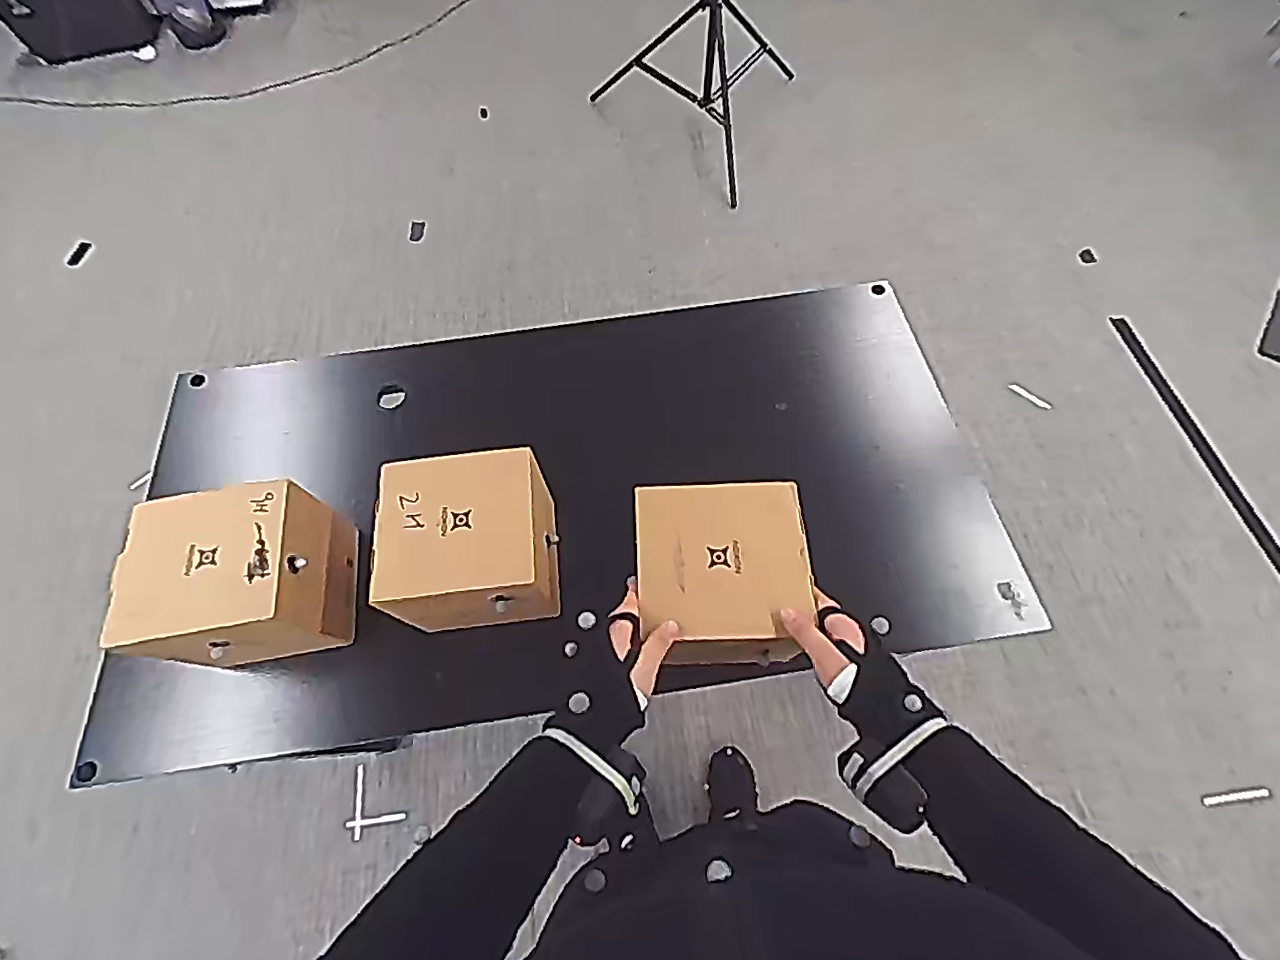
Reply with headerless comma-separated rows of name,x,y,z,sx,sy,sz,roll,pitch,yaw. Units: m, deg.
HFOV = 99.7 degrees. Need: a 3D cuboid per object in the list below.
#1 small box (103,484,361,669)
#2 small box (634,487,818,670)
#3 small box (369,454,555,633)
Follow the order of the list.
small box,-0.474,0.125,0.660,0.179,0.176,0.168,-10,65,-3
small box,0.085,0.119,0.620,0.179,0.176,0.168,-3,62,2
small box,-0.204,0.085,0.670,0.179,0.176,0.168,-7,64,-1
